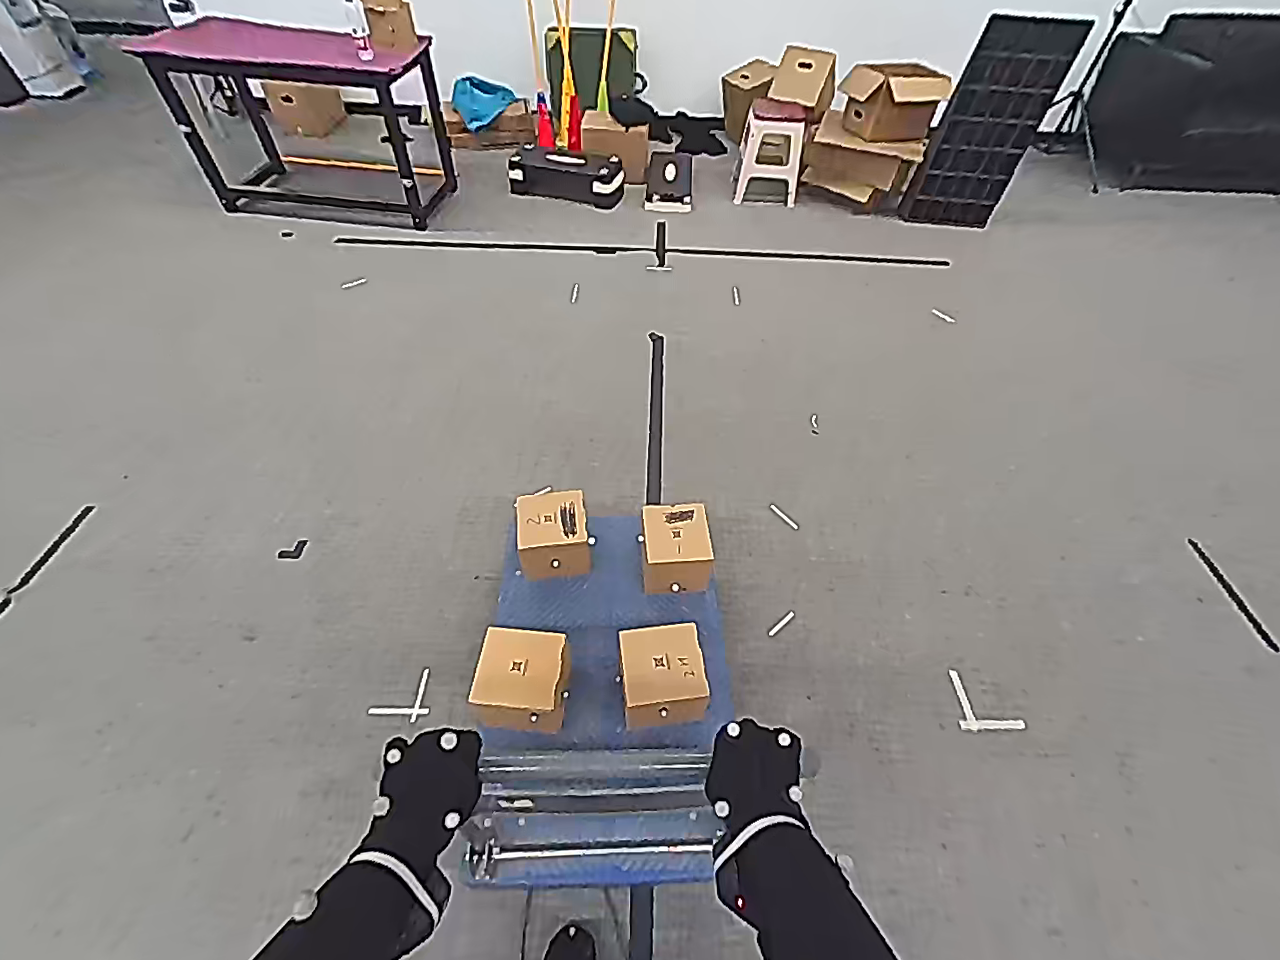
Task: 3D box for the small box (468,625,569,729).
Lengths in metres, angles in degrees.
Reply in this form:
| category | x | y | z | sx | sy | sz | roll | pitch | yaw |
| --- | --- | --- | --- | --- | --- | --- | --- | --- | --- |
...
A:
| category | x | y | z | sx | sy | sz | roll | pitch | yaw |
| --- | --- | --- | --- | --- | --- | --- | --- | --- | --- |
| small box | -0.259 | 0.440 | 1.198 | 0.179 | 0.176 | 0.168 | 6 | 50 | 1 |

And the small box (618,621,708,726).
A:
| category | x | y | z | sx | sy | sz | roll | pitch | yaw |
| --- | --- | --- | --- | --- | --- | --- | --- | --- | --- |
| small box | 0.046 | 0.436 | 1.210 | 0.179 | 0.176 | 0.168 | -5 | 51 | -6 |

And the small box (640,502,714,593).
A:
| category | x | y | z | sx | sy | sz | roll | pitch | yaw |
| --- | --- | --- | --- | --- | --- | --- | --- | --- | --- |
| small box | 0.090 | 0.179 | 1.426 | 0.168 | 0.176 | 0.179 | -2 | 51 | -4 |
